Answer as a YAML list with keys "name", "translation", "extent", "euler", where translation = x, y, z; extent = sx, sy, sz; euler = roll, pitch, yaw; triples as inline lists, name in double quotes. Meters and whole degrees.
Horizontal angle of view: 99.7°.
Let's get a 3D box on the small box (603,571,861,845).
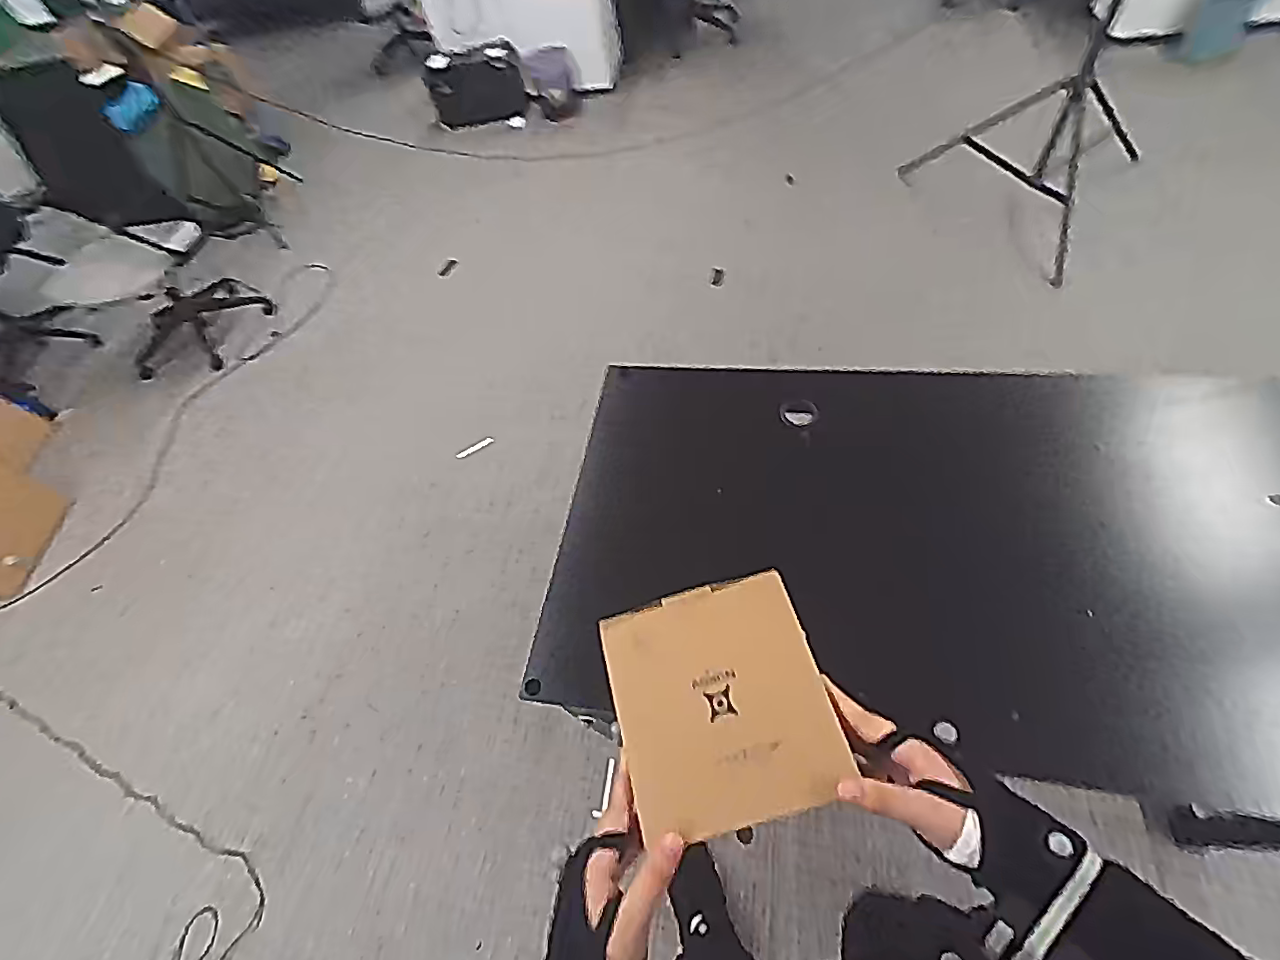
- name: "small box"
  translation: [0.073, 0.210, 0.496]
  extent: [0.168, 0.176, 0.179]
  euler: [-16, 59, 2]
